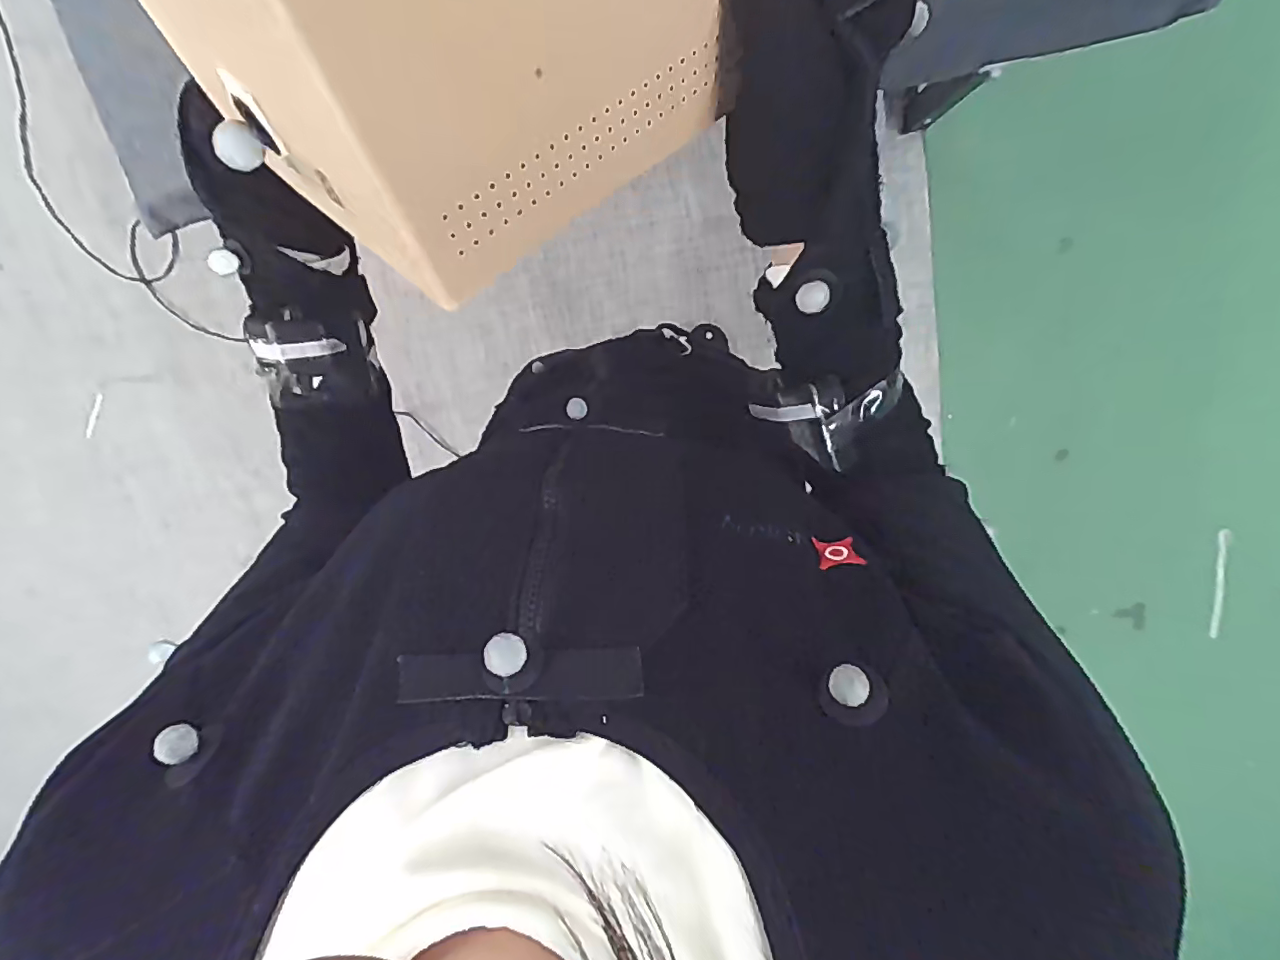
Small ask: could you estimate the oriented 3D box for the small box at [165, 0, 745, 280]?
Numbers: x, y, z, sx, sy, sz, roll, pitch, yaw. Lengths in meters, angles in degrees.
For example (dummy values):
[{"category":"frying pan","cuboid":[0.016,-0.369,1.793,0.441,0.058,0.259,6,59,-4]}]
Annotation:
[{"category":"small box","cuboid":[-0.072,-0.207,0.181,0.168,0.176,0.179,38,73,24]}]
